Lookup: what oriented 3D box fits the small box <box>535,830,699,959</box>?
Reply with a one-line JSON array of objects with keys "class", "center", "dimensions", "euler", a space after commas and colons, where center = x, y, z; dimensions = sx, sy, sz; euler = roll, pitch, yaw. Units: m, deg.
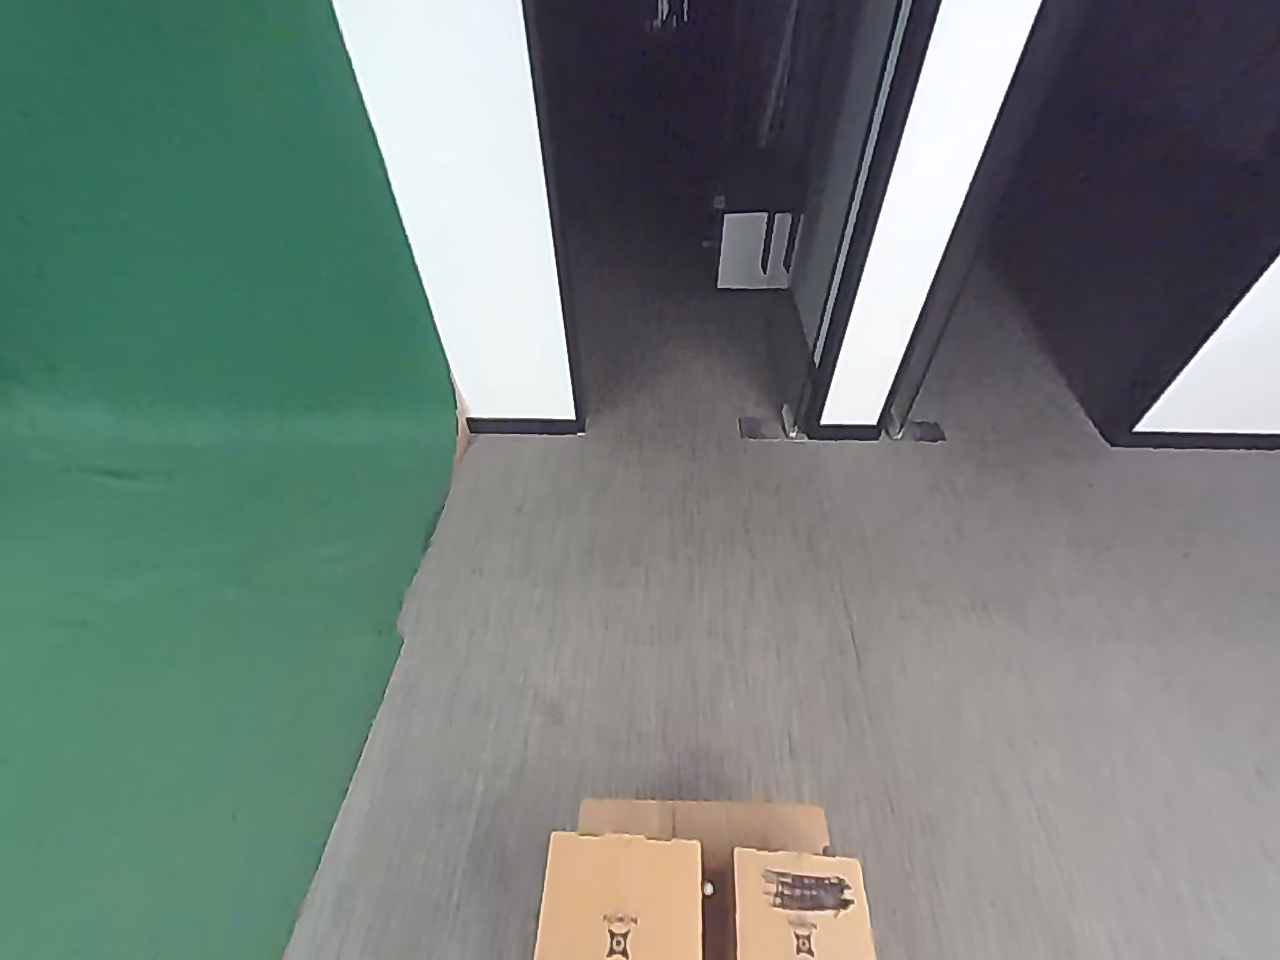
[{"class": "small box", "center": [-0.020, 0.515, 0.608], "dimensions": [0.168, 0.176, 0.179], "euler": [2, 48, 2]}]
